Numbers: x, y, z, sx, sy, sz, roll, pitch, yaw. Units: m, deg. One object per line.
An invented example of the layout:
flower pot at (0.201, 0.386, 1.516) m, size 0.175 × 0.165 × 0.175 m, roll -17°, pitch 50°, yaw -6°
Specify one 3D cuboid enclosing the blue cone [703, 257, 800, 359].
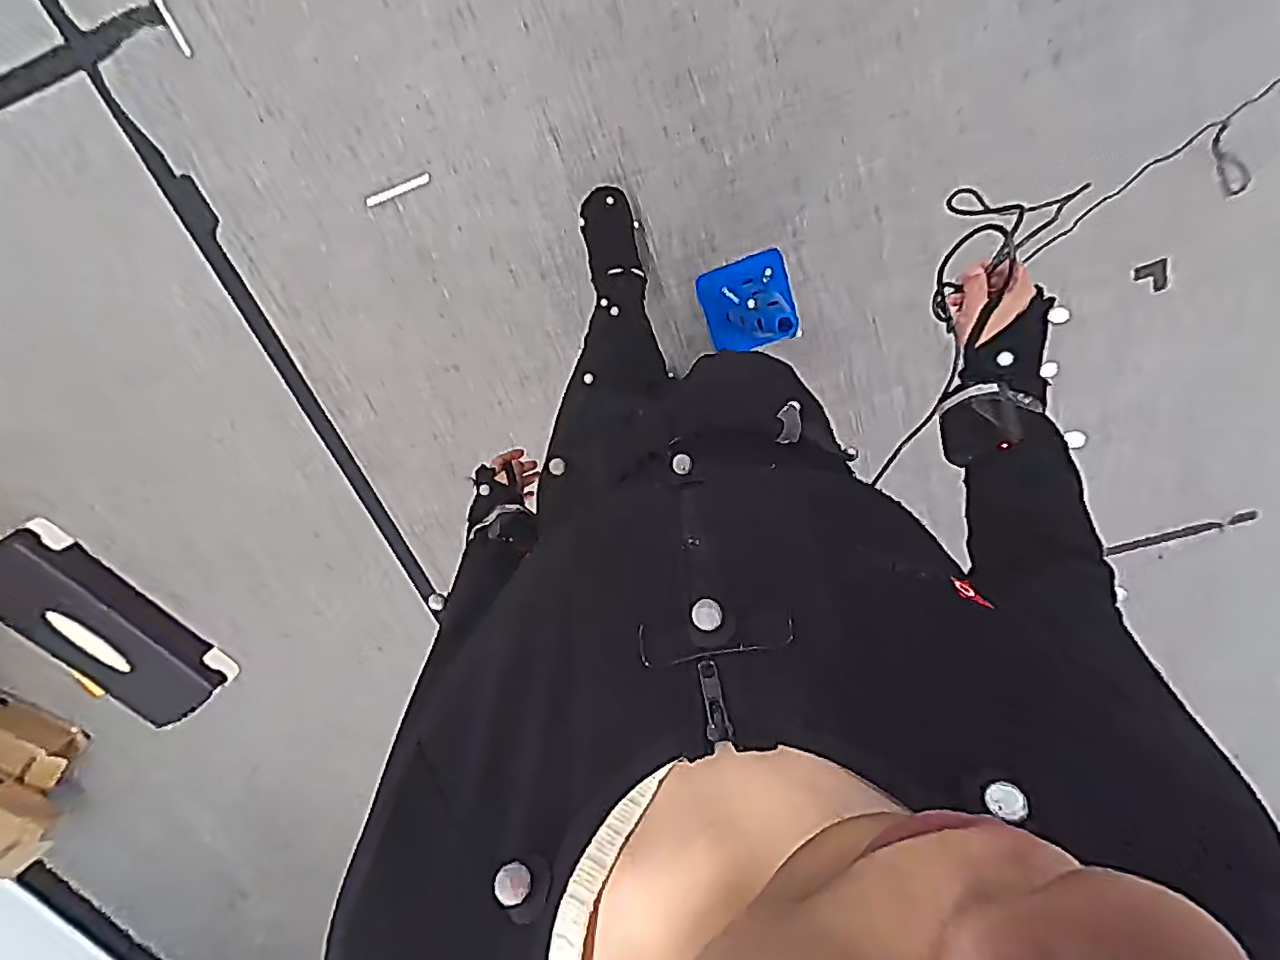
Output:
blue cone at (0.249, -0.326, 1.079) m, size 0.193 × 0.380 × 0.192 m, roll -18°, pitch 112°, yaw 7°
